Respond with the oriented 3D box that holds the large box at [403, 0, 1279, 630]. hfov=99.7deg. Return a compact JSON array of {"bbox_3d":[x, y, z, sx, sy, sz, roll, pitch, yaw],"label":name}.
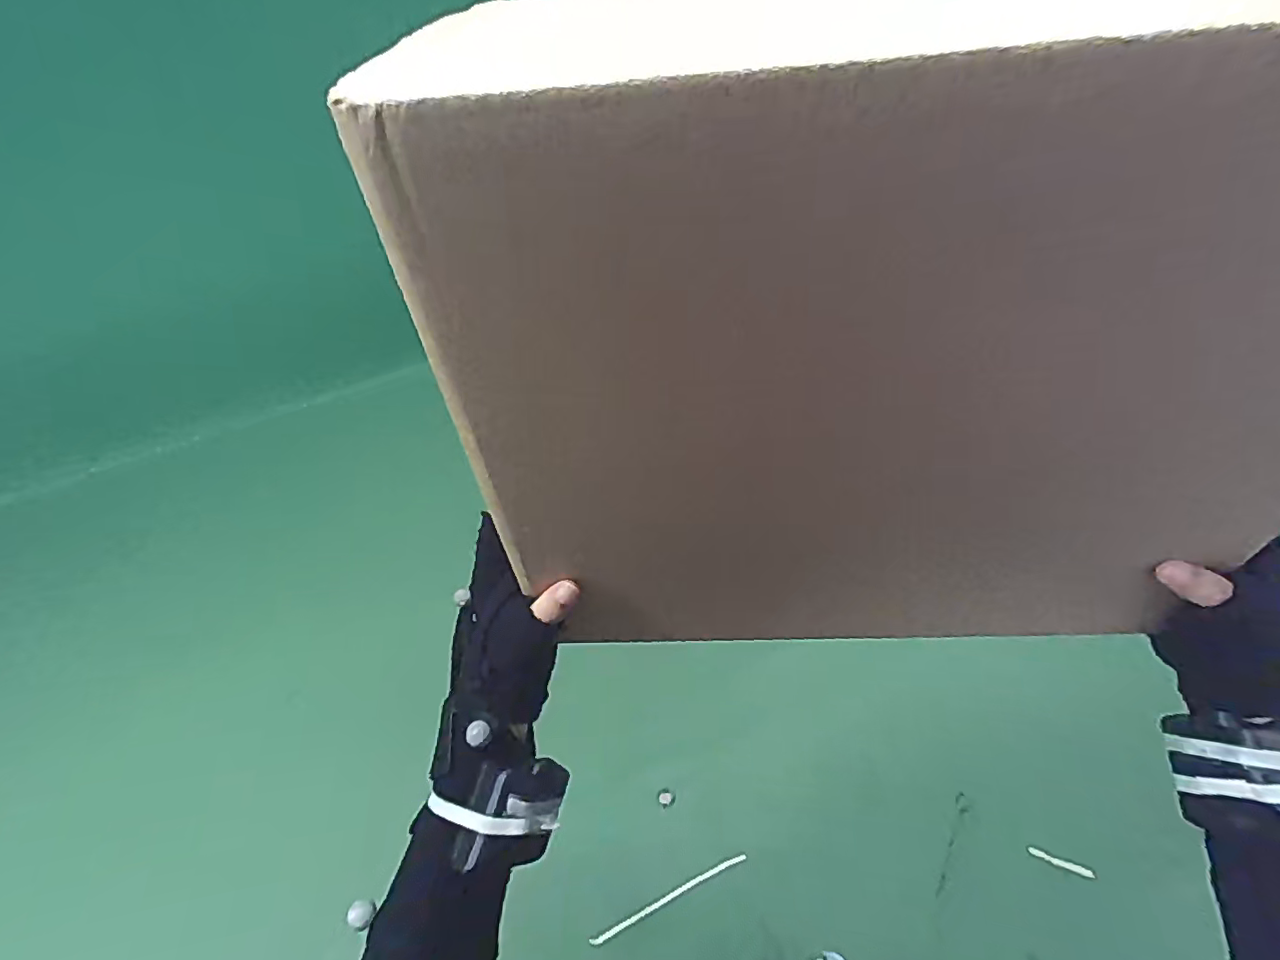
[{"bbox_3d":[0.134,-0.114,0.359,0.408,0.320,0.320,-1,46,3],"label":"large box"}]
